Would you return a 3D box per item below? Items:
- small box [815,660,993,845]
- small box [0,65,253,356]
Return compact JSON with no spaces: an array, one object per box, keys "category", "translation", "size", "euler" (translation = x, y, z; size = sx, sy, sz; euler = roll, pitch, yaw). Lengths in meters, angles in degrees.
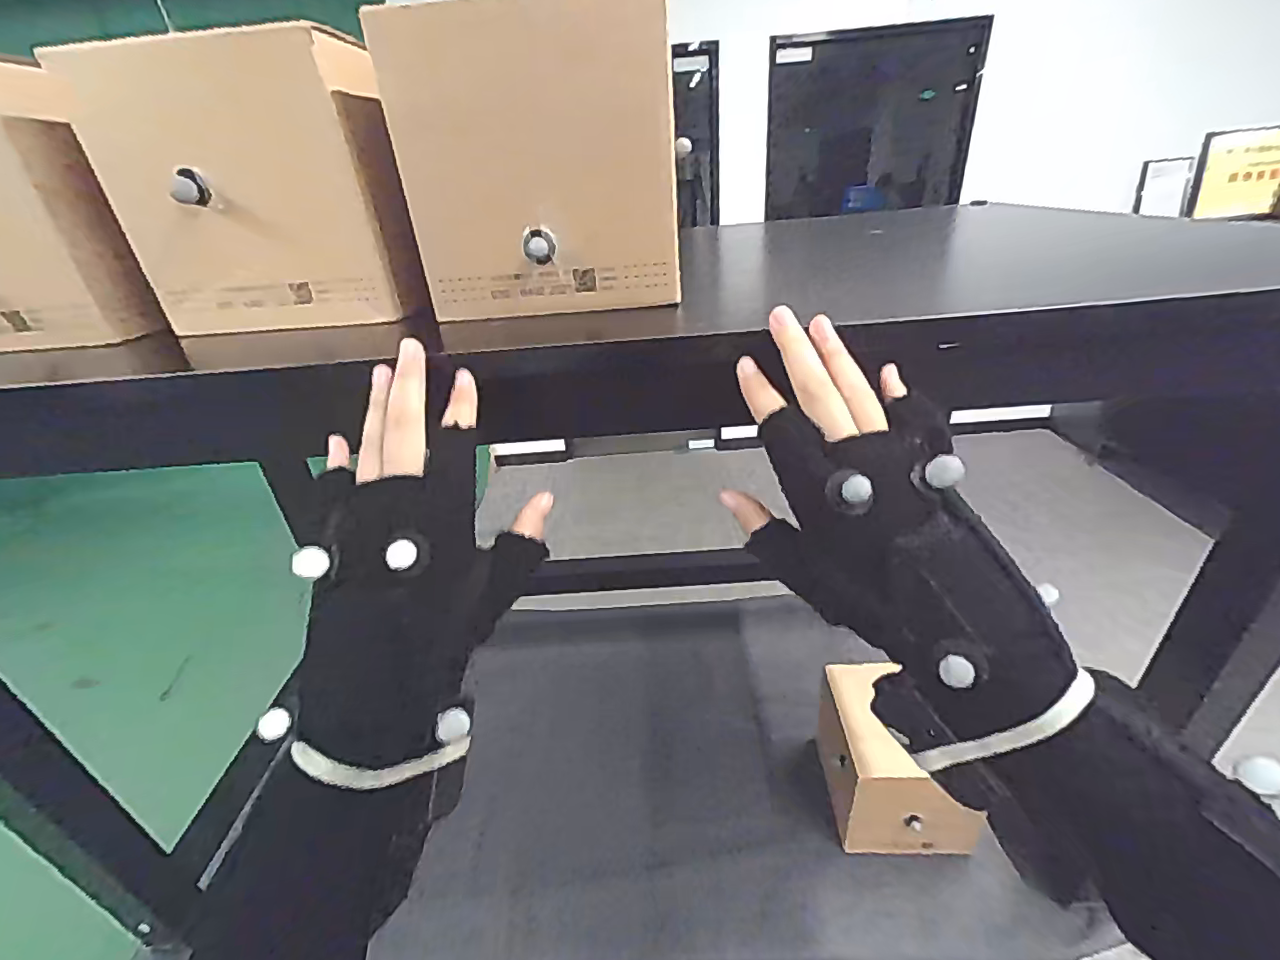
[{"category":"small box","translation":[0.351,0.378,0.756],"size":[0.168,0.176,0.179],"euler":[-2,29,5]},{"category":"small box","translation":[-0.448,-0.201,0.420],"size":[0.168,0.176,0.179],"euler":[-3,30,3]}]
